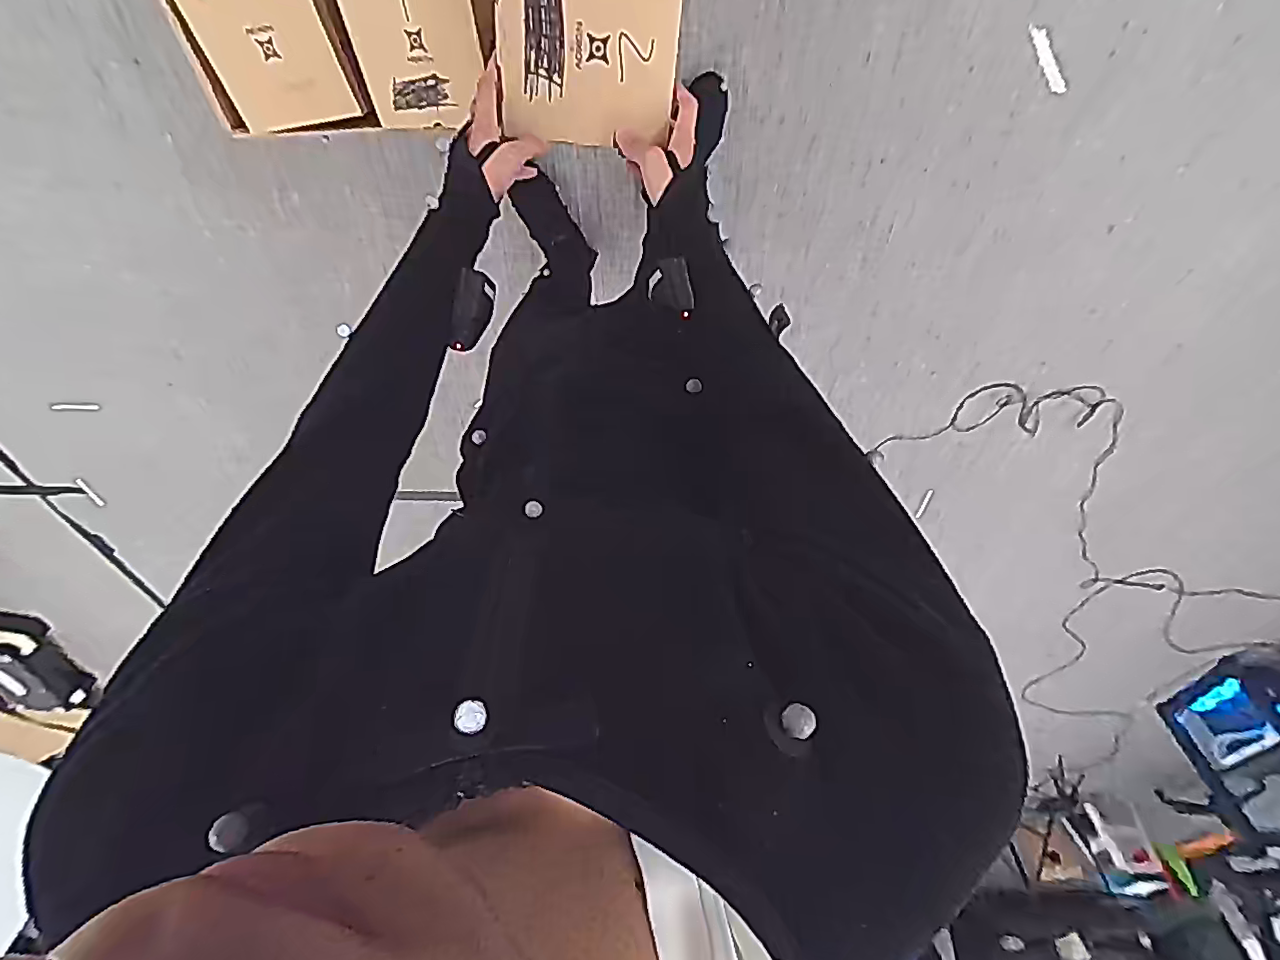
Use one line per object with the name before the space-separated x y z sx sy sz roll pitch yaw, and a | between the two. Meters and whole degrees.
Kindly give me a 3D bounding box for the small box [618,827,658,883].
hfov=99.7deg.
small box | -0.008 1.654 2.383 0.168 0.176 0.179 3 133 -1
